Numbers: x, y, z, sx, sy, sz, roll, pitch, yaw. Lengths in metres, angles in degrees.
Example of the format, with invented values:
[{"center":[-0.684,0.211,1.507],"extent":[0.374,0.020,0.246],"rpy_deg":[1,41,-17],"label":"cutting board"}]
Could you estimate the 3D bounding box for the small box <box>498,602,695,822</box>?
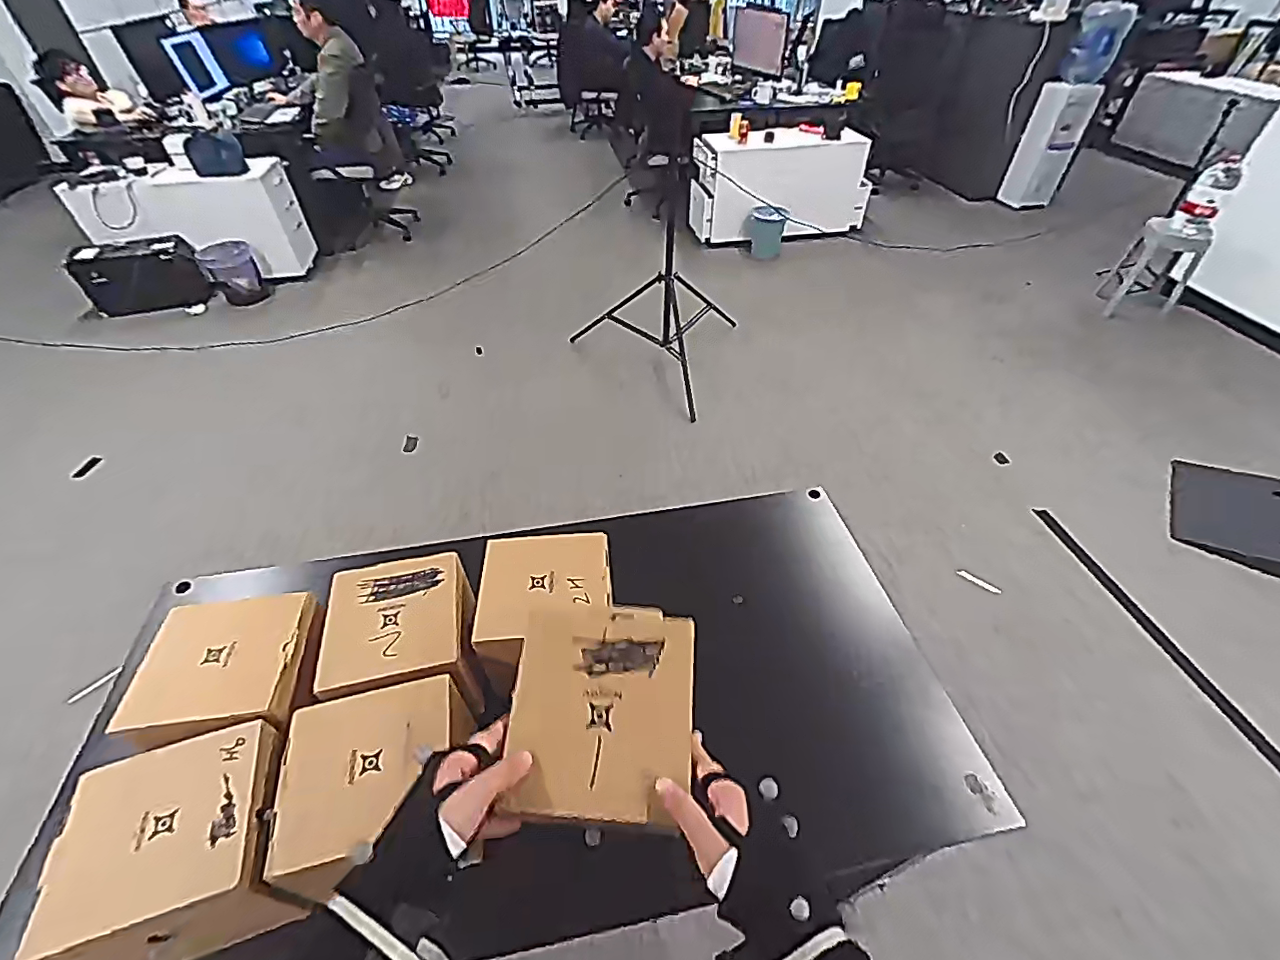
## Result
[{"center":[-0.033,0.244,0.562],"extent":[0.168,0.176,0.179],"rpy_deg":[3,57,3],"label":"small box"}]
